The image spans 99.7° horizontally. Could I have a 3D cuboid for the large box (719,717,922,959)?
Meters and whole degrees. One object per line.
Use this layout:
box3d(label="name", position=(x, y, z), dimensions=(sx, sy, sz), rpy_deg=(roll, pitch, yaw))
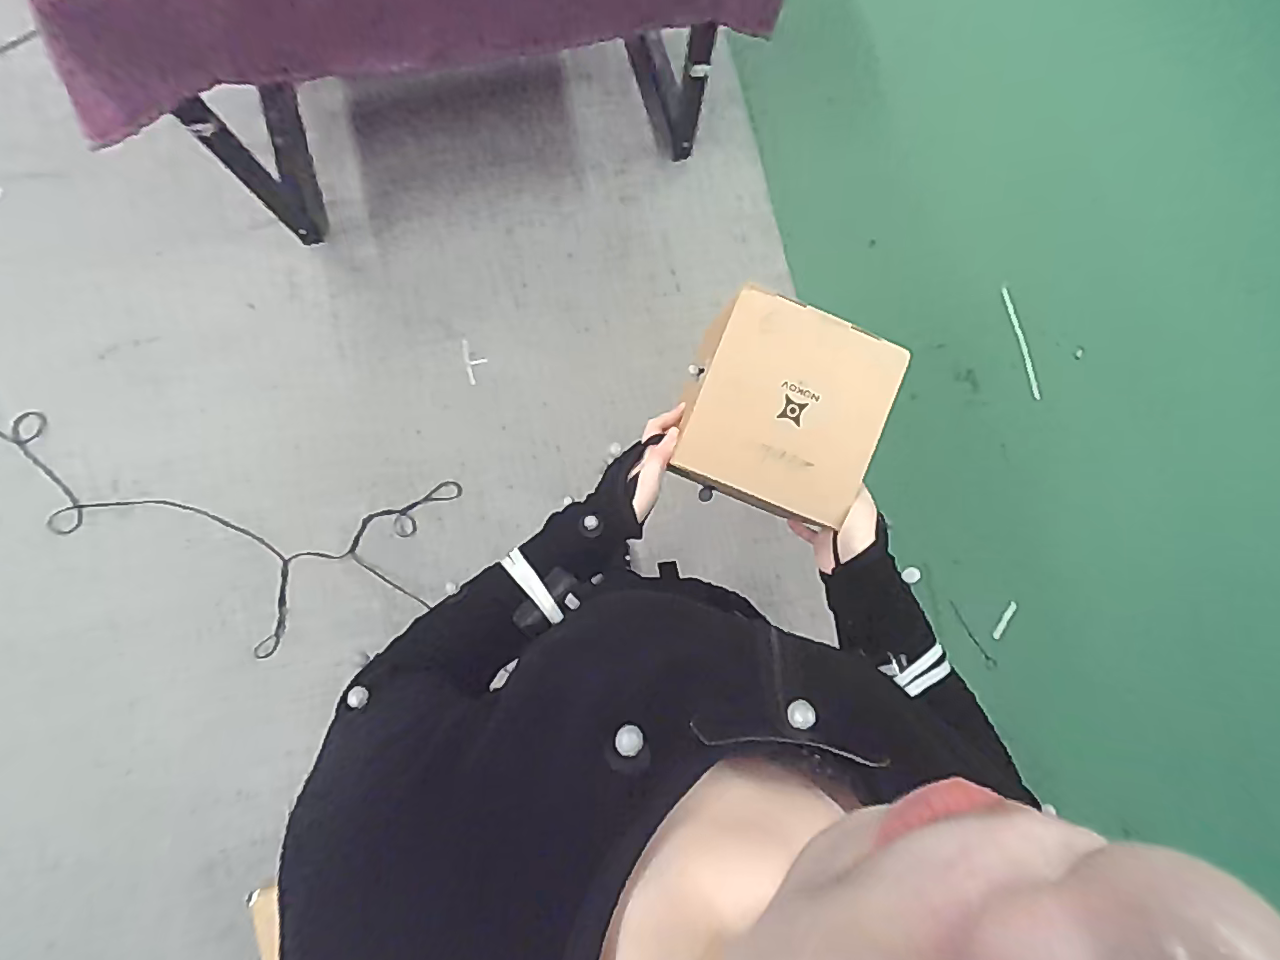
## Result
box3d(label="large box", position=(0.426, 0.870, 1.322), dimensions=(0.320, 0.320, 0.408), rpy_deg=(-16, 86, -7))

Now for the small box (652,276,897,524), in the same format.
box3d(label="small box", position=(0.120, -0.072, 0.558), dimensions=(0.168, 0.176, 0.179), rpy_deg=(23, 90, -4))
